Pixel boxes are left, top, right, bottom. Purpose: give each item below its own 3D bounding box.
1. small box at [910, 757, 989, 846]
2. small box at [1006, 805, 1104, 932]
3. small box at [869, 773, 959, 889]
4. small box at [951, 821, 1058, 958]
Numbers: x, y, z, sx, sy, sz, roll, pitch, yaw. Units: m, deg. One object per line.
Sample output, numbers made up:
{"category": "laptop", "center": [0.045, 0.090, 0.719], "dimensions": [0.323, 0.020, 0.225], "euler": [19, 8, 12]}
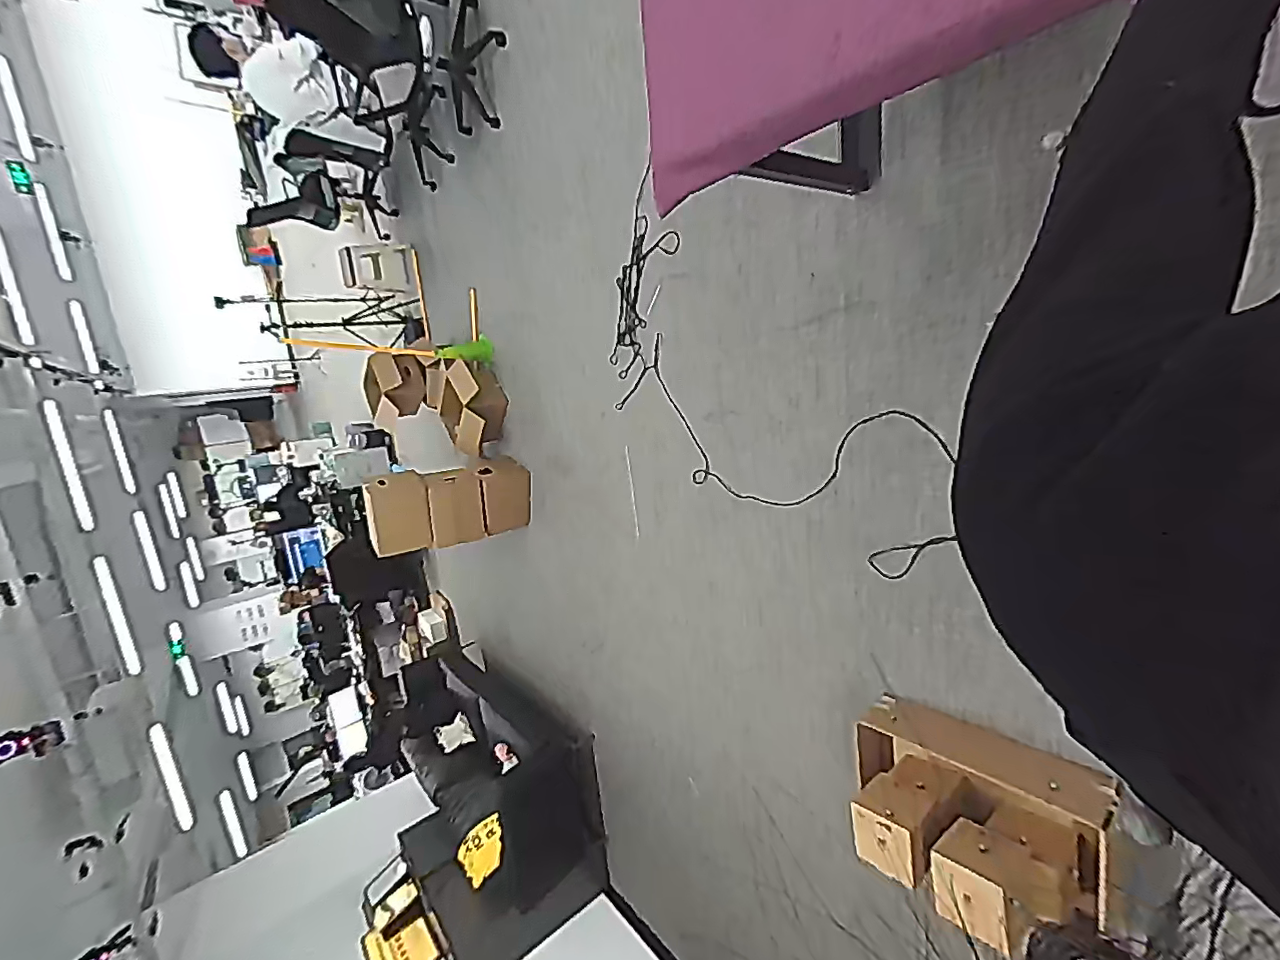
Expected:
{"category": "small box", "center": [0.903, 0.955, 1.597], "dimensions": [0.179, 0.176, 0.168], "euler": [-6, 97, 54]}
{"category": "small box", "center": [1.060, 0.979, 1.386], "dimensions": [0.179, 0.176, 0.168], "euler": [1, 101, 56]}
{"category": "small box", "center": [0.765, 0.965, 1.505], "dimensions": [0.168, 0.176, 0.179], "euler": [1, 103, 53]}
{"category": "small box", "center": [0.898, 0.991, 1.331], "dimensions": [0.168, 0.176, 0.179], "euler": [-2, 99, 57]}
